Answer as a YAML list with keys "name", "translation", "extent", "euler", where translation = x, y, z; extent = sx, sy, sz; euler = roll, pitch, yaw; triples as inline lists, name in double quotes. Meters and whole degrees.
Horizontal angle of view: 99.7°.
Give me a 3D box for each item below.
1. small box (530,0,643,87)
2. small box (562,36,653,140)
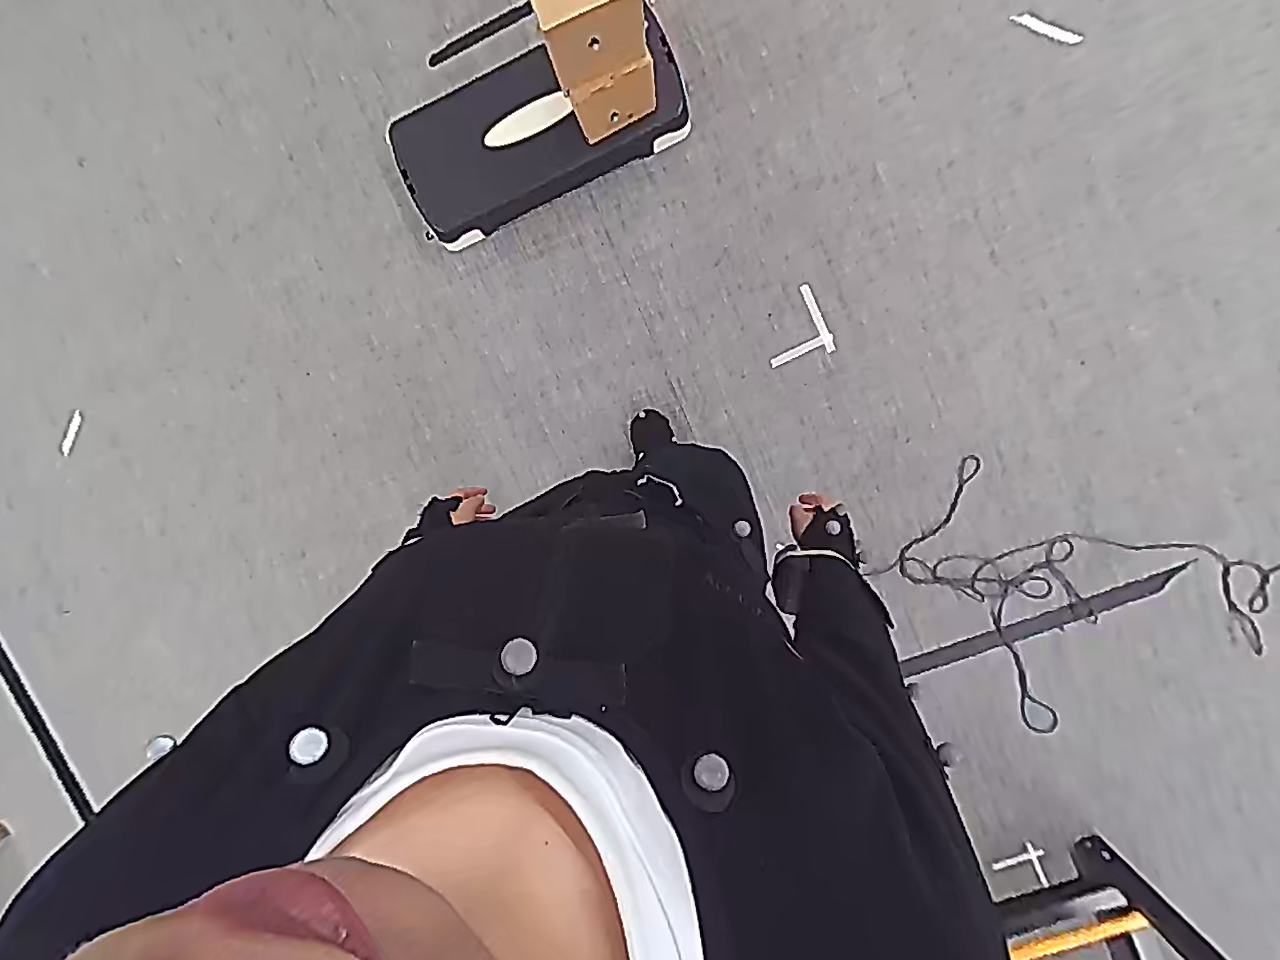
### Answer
- name: "small box"
  translation: [-0.100, -0.841, 0.940]
  extent: [0.179, 0.176, 0.168]
  euler: [-19, 96, 6]
- name: "small box"
  translation: [-0.081, -0.849, 1.104]
  extent: [0.168, 0.176, 0.179]
  euler: [-25, 95, 6]
